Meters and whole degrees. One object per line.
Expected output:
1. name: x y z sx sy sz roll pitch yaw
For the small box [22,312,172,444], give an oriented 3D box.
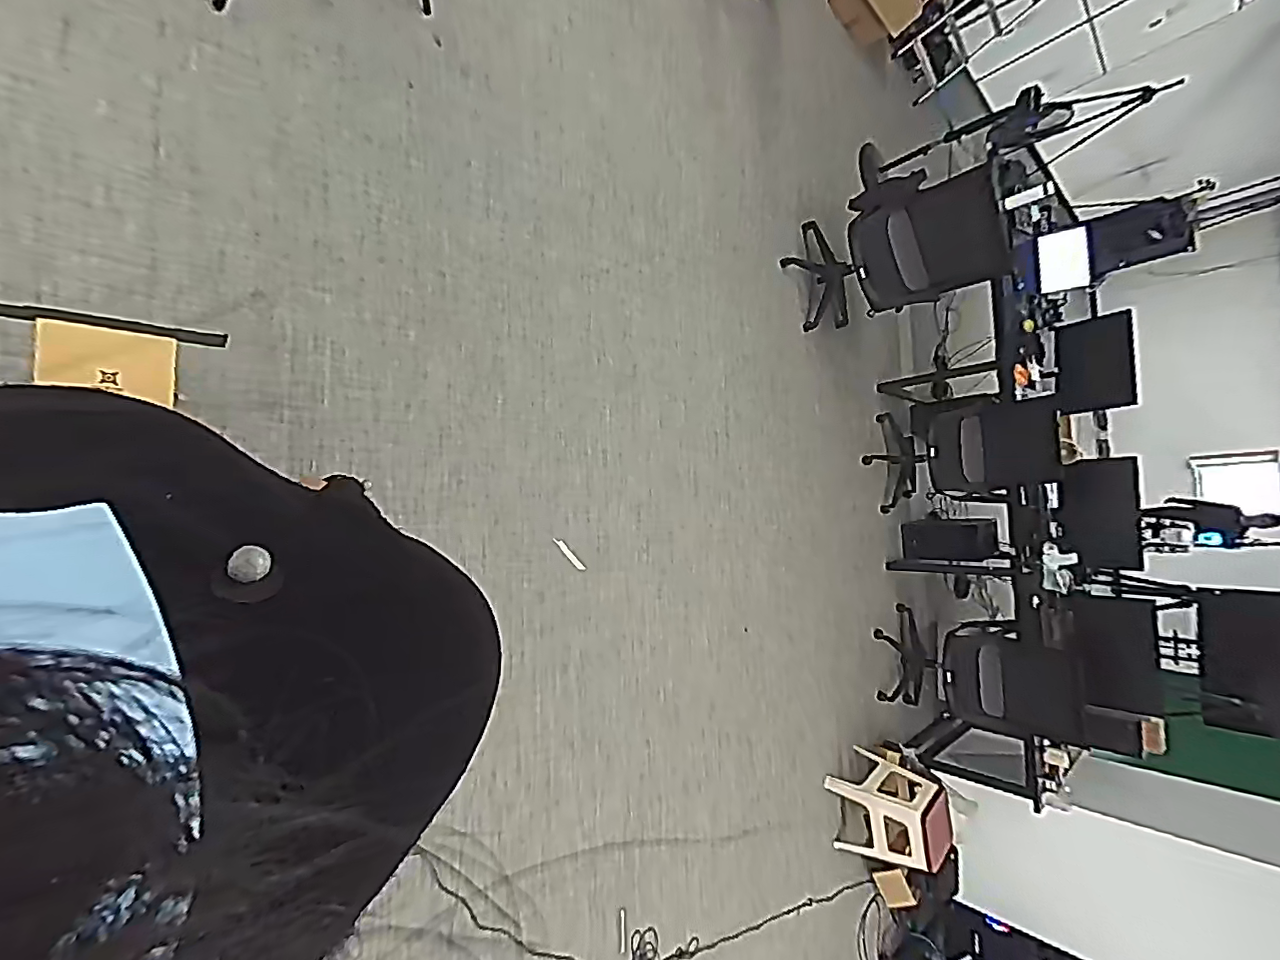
1. small box: -0.920 -0.162 0.928 0.168 0.176 0.179 3 85 -42
